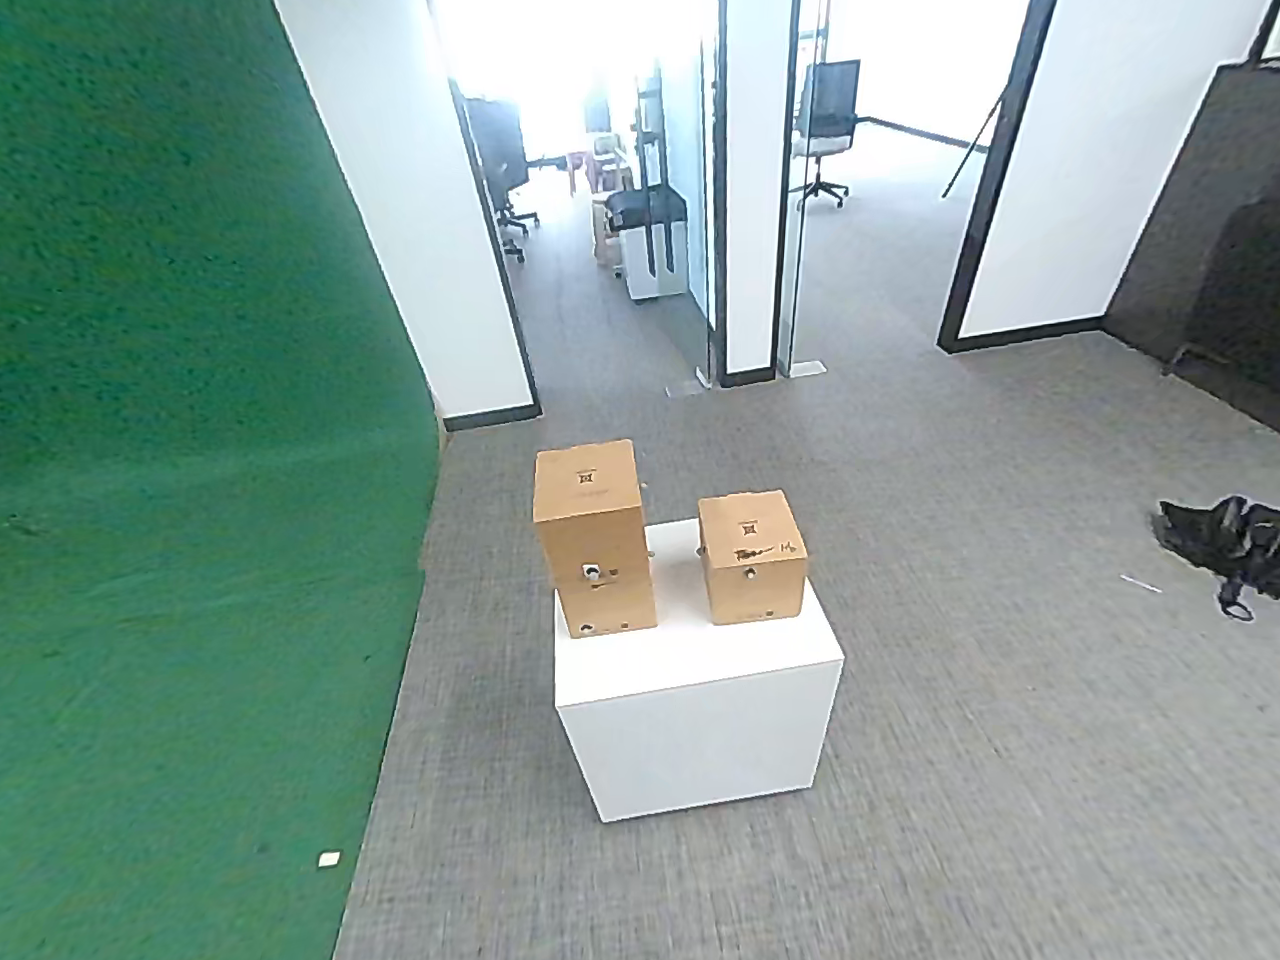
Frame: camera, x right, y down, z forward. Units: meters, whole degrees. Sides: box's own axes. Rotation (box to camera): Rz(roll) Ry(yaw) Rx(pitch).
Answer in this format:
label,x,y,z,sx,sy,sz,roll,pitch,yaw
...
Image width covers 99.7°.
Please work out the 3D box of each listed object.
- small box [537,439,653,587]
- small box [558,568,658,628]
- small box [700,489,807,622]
label,x,y,z,sx,sy,sz,roll,pitch,yaw
small box,-0.074,0.056,0.925,0.168,0.176,0.179,-9,41,-1
small box,-0.060,0.169,1.041,0.168,0.176,0.179,-8,39,-1
small box,0.208,0.143,1.028,0.168,0.176,0.179,-7,39,2
